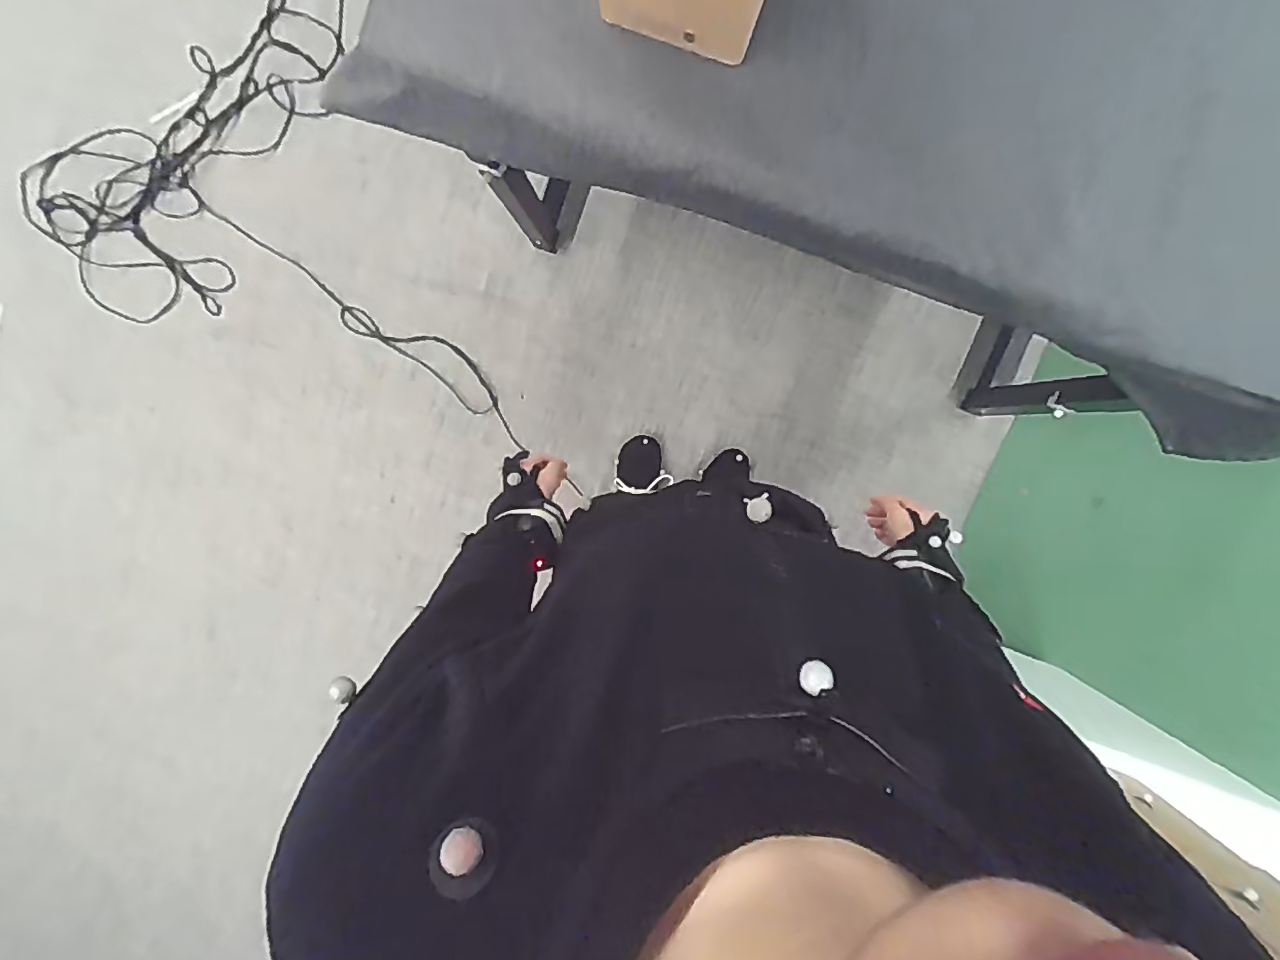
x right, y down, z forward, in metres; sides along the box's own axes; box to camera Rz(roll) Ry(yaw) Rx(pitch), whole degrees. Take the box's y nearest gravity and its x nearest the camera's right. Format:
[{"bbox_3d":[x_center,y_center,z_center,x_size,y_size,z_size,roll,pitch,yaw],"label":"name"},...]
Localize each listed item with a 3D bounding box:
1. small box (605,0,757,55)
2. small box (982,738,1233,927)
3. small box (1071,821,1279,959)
[{"bbox_3d":[0.057,-0.559,0.500,0.168,0.176,0.179,20,96,-1],"label":"small box"},{"bbox_3d":[0.616,0.486,0.734,0.179,0.176,0.168,21,97,-2],"label":"small box"},{"bbox_3d":[0.621,0.506,0.572,0.179,0.176,0.168,19,99,-2],"label":"small box"}]
